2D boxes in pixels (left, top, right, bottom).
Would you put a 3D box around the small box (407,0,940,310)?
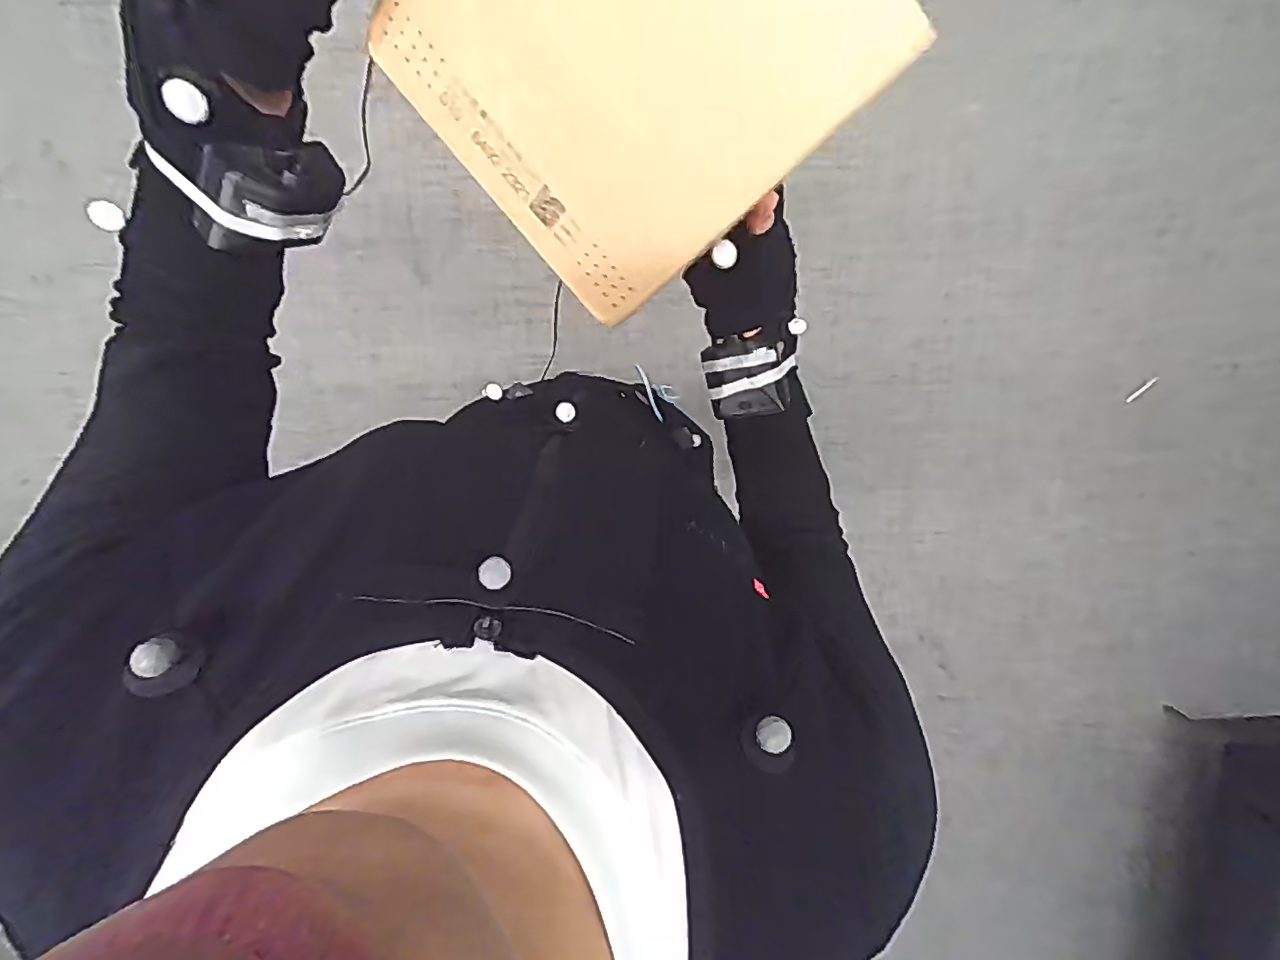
[{"bbox_3d":[0.022,-0.221,0.273,0.176,0.179,0.168,-30,109,39],"label":"small box"}]
